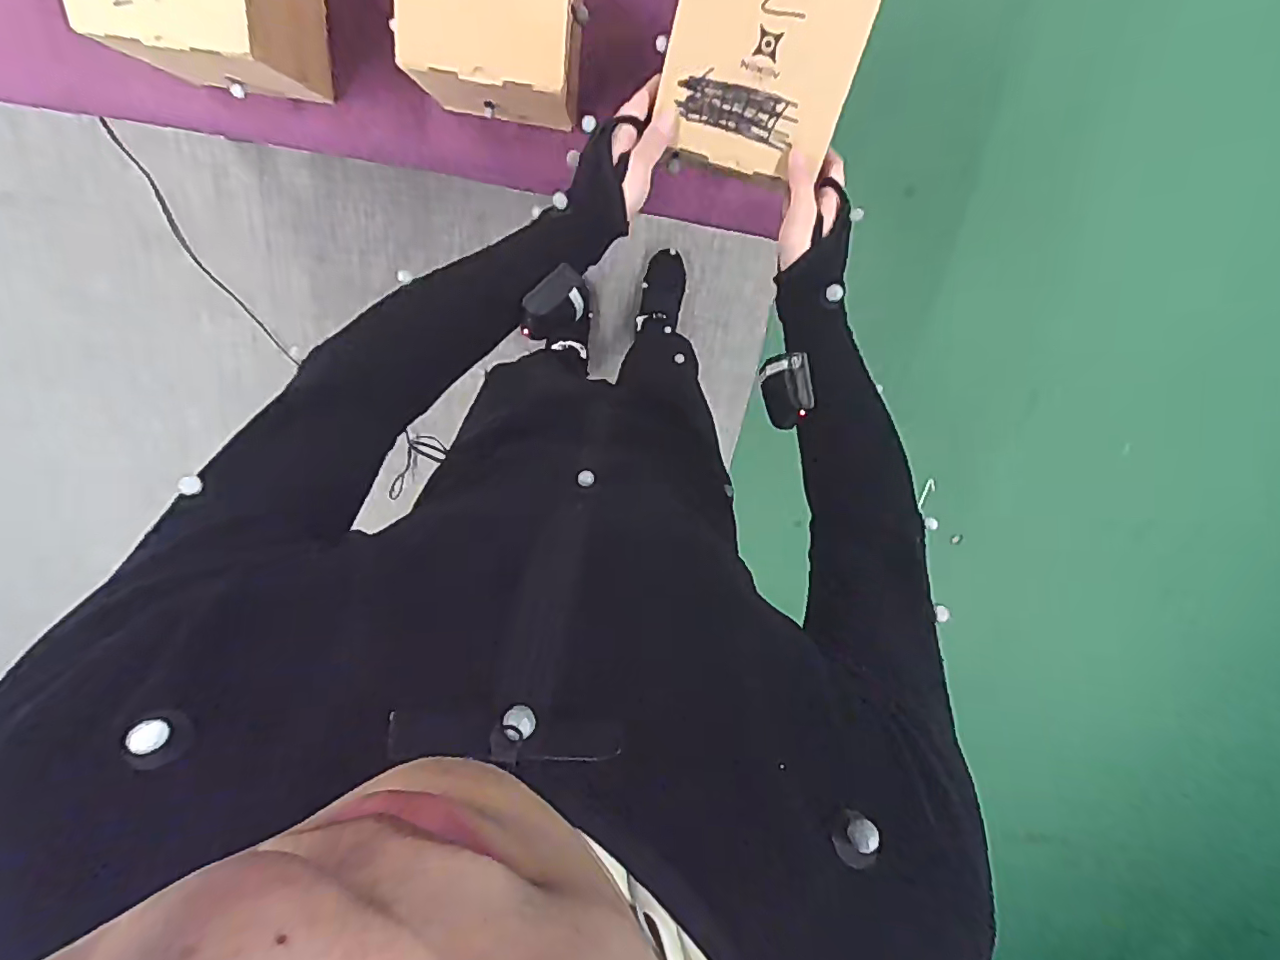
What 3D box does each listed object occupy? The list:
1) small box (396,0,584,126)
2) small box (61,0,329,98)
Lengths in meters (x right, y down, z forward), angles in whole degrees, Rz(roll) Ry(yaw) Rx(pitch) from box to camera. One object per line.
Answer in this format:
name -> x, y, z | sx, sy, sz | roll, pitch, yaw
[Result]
small box -> -0.150, -0.511, 0.581 | 0.168, 0.176, 0.179 | 6, 113, -6
small box -> -0.445, -0.527, 0.554 | 0.168, 0.176, 0.179 | 6, 112, -6
